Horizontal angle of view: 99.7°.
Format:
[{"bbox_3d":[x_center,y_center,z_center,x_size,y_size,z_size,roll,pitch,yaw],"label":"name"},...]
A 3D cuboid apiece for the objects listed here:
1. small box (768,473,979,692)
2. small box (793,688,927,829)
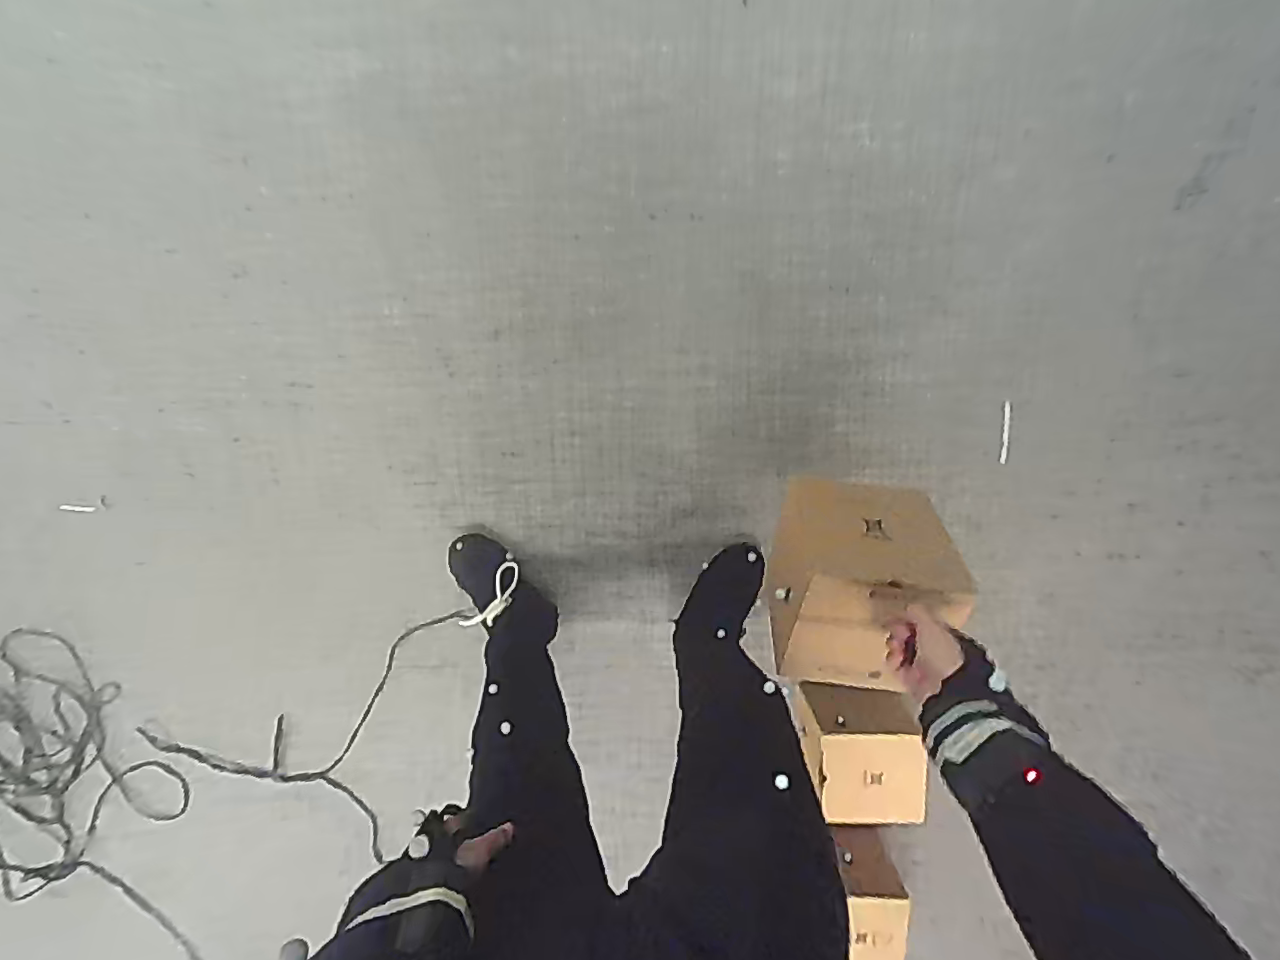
[{"bbox_3d":[0.246,0.116,0.623,0.168,0.179,0.176,7,127,5],"label":"small box"},{"bbox_3d":[0.386,0.492,0.974,0.179,0.176,0.168,-1,98,3],"label":"small box"}]
